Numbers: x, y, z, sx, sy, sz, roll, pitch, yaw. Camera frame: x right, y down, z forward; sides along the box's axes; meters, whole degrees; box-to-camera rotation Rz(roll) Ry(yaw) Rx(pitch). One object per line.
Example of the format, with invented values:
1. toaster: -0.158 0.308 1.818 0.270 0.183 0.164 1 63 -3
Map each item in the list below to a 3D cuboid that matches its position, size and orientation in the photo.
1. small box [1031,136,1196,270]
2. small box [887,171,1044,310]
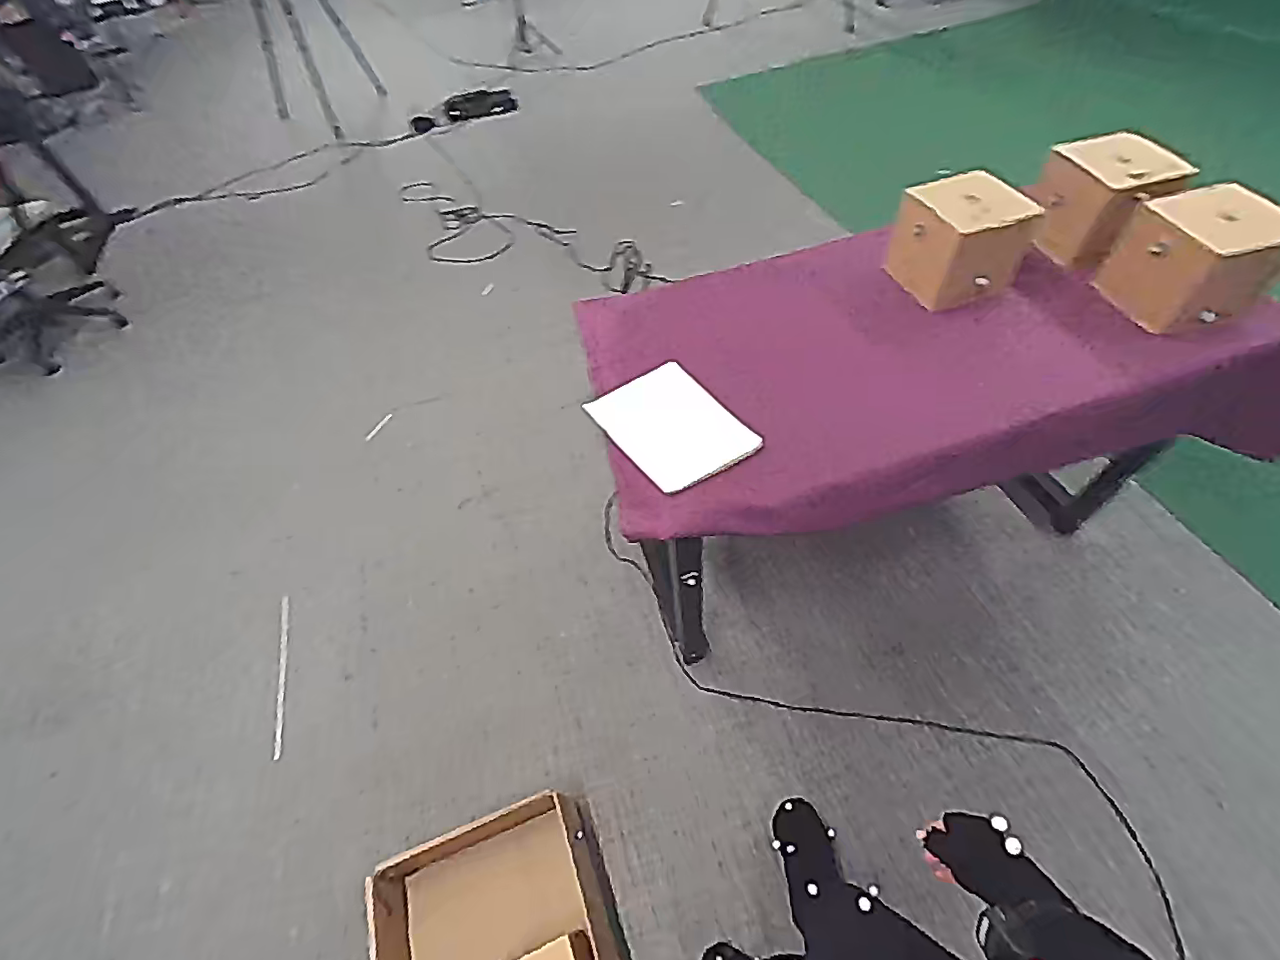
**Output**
1. small box: 0.912 -0.551 1.080 0.168 0.176 0.179 -13 54 -2
2. small box: 0.614 -0.461 1.050 0.168 0.176 0.179 -17 55 -5
